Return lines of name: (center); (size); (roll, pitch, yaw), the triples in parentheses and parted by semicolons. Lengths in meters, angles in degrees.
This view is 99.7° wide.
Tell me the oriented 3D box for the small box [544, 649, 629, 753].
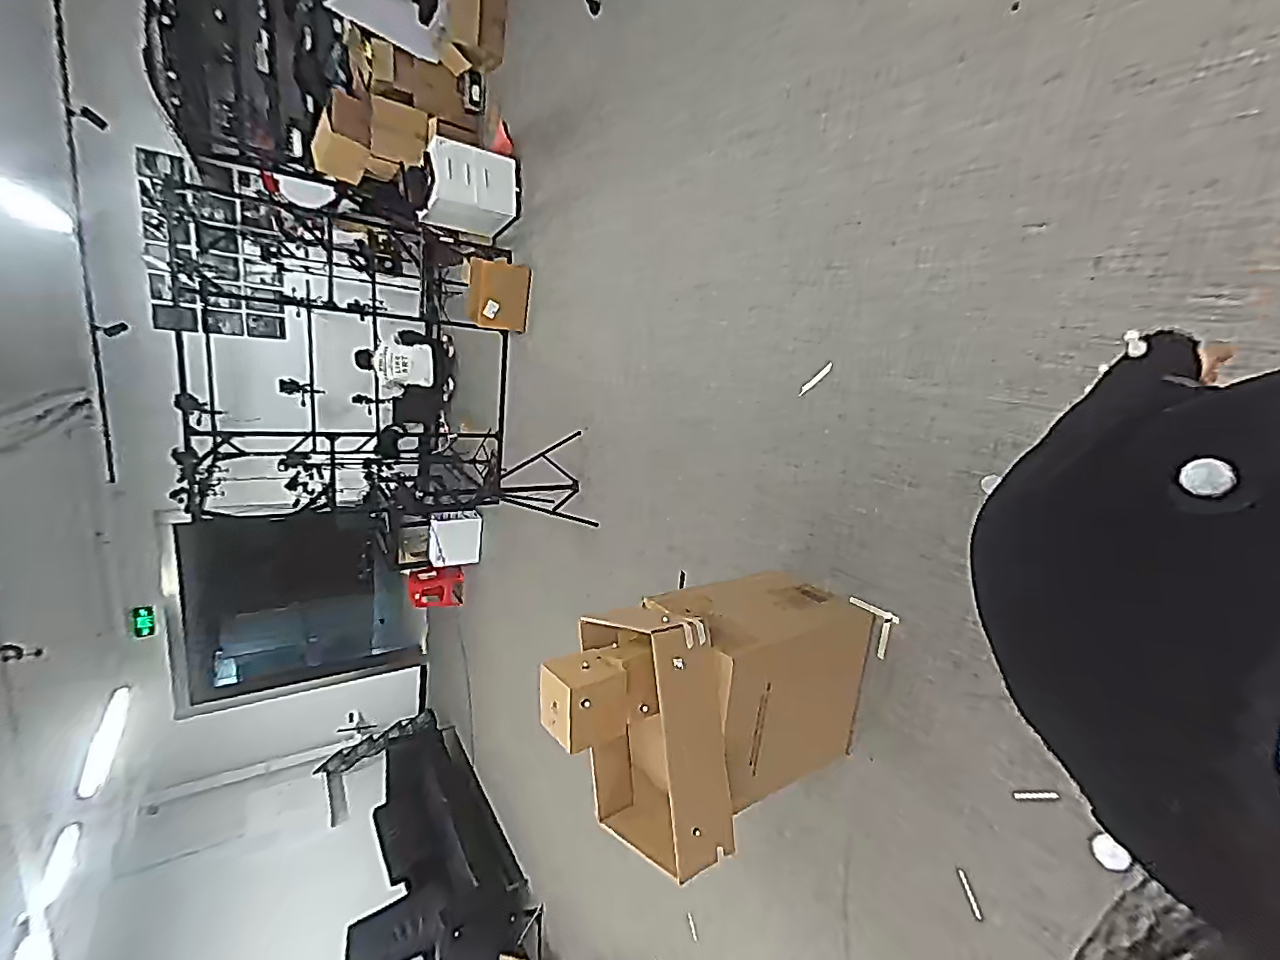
small box: (-0.139, 0.564, 1.411); (0.168, 0.176, 0.179); (11, 104, 54)
